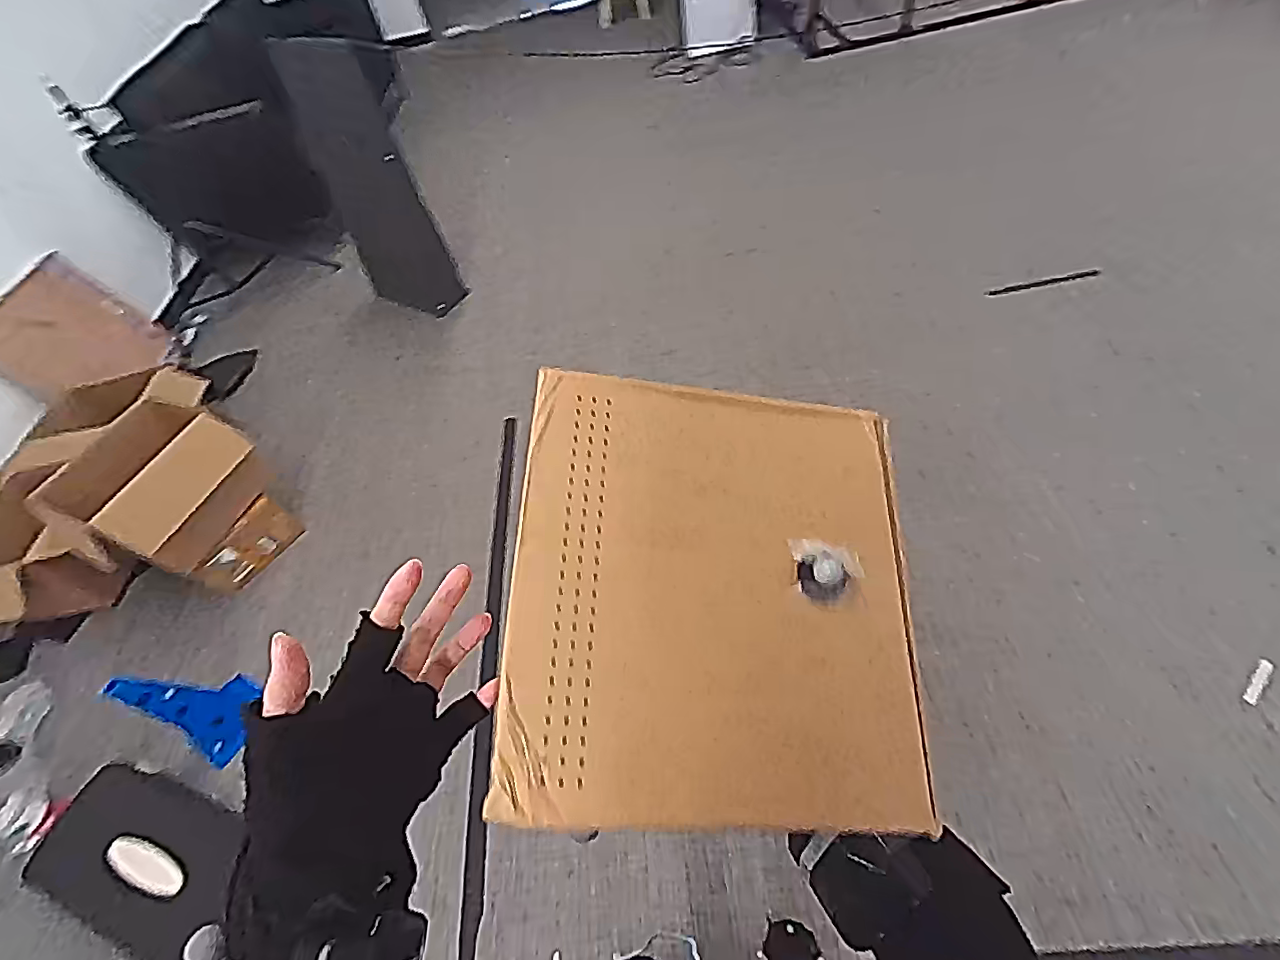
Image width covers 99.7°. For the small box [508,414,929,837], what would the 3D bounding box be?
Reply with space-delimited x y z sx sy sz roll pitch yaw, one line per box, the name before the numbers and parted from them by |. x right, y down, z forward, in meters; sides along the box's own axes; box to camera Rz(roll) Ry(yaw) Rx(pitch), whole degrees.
small box | 0.023 0.078 0.302 0.176 0.168 0.179 7 70 -7
